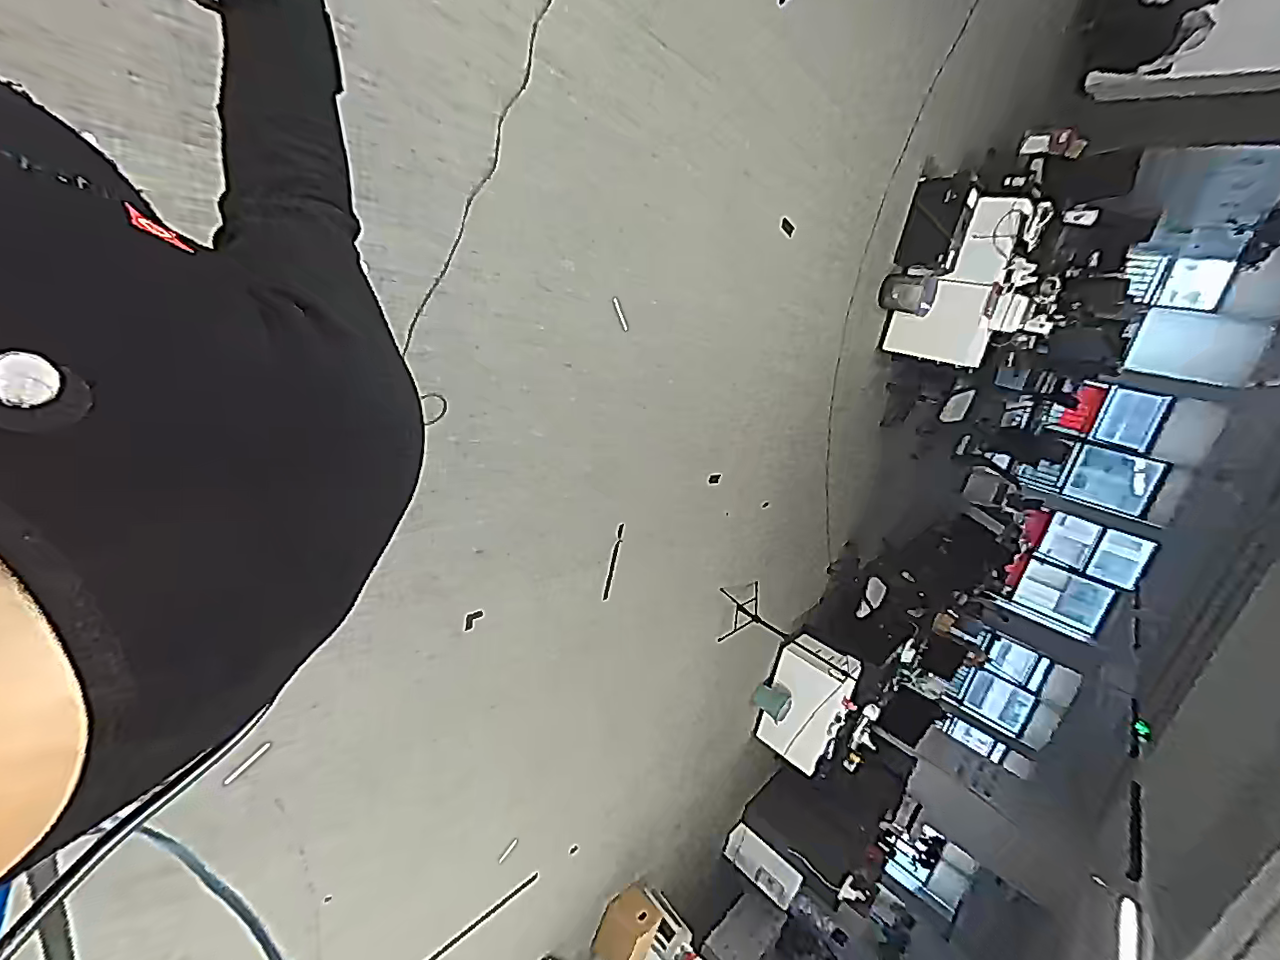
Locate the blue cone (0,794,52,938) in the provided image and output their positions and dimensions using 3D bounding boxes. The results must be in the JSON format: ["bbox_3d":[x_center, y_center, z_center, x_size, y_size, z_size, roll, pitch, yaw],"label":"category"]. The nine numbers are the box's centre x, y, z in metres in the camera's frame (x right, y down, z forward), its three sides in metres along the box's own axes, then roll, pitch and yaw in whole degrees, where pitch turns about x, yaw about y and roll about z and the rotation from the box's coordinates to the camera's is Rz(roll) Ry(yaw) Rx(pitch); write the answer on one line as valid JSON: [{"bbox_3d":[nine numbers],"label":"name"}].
[{"bbox_3d":[-1.351,0.853,1.102,0.193,0.380,0.192,23,93,-52],"label":"blue cone"}]
